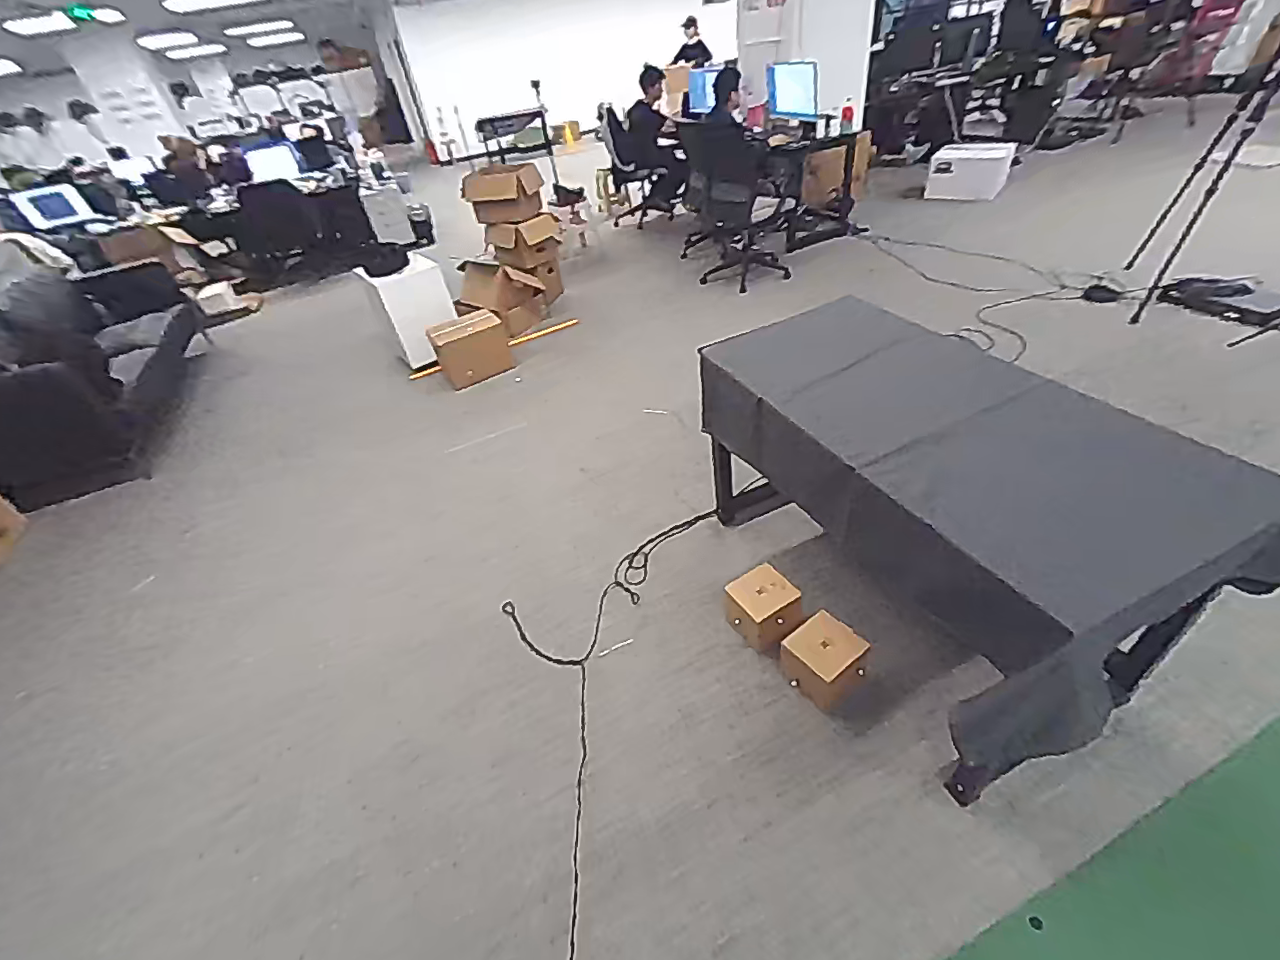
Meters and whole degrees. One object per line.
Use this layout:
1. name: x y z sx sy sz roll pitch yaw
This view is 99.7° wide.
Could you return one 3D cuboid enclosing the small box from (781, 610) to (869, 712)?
1. small box: 0.515 0.511 1.530 0.179 0.176 0.168 -29 43 -22
